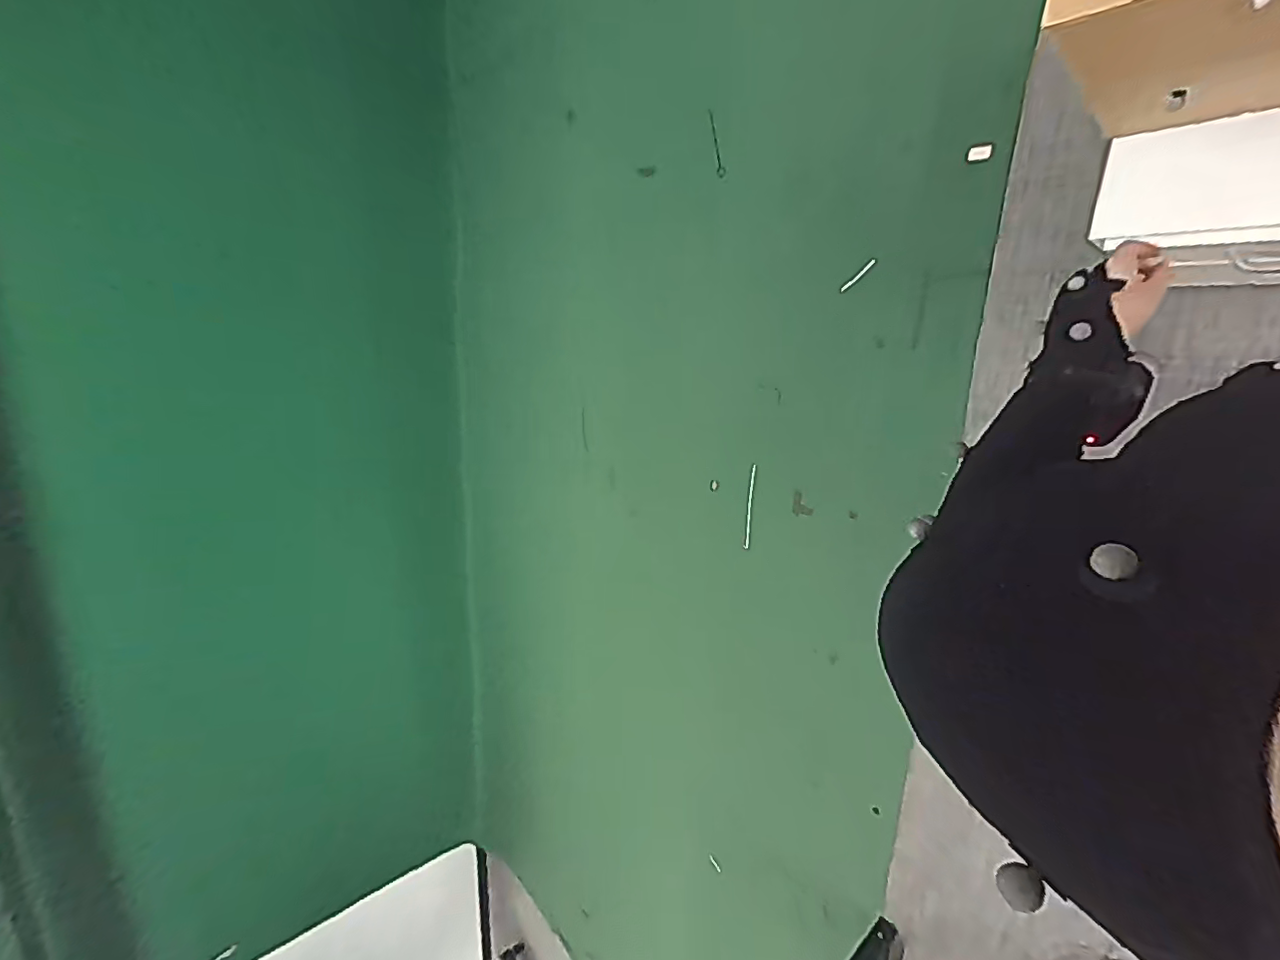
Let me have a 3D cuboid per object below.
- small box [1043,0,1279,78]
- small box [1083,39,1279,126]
[{"bbox_3d":[0.473,-0.471,0.444,0.179,0.176,0.168,18,110,43],"label":"small box"},{"bbox_3d":[0.595,-0.494,0.552,0.179,0.176,0.168,16,109,45],"label":"small box"}]
